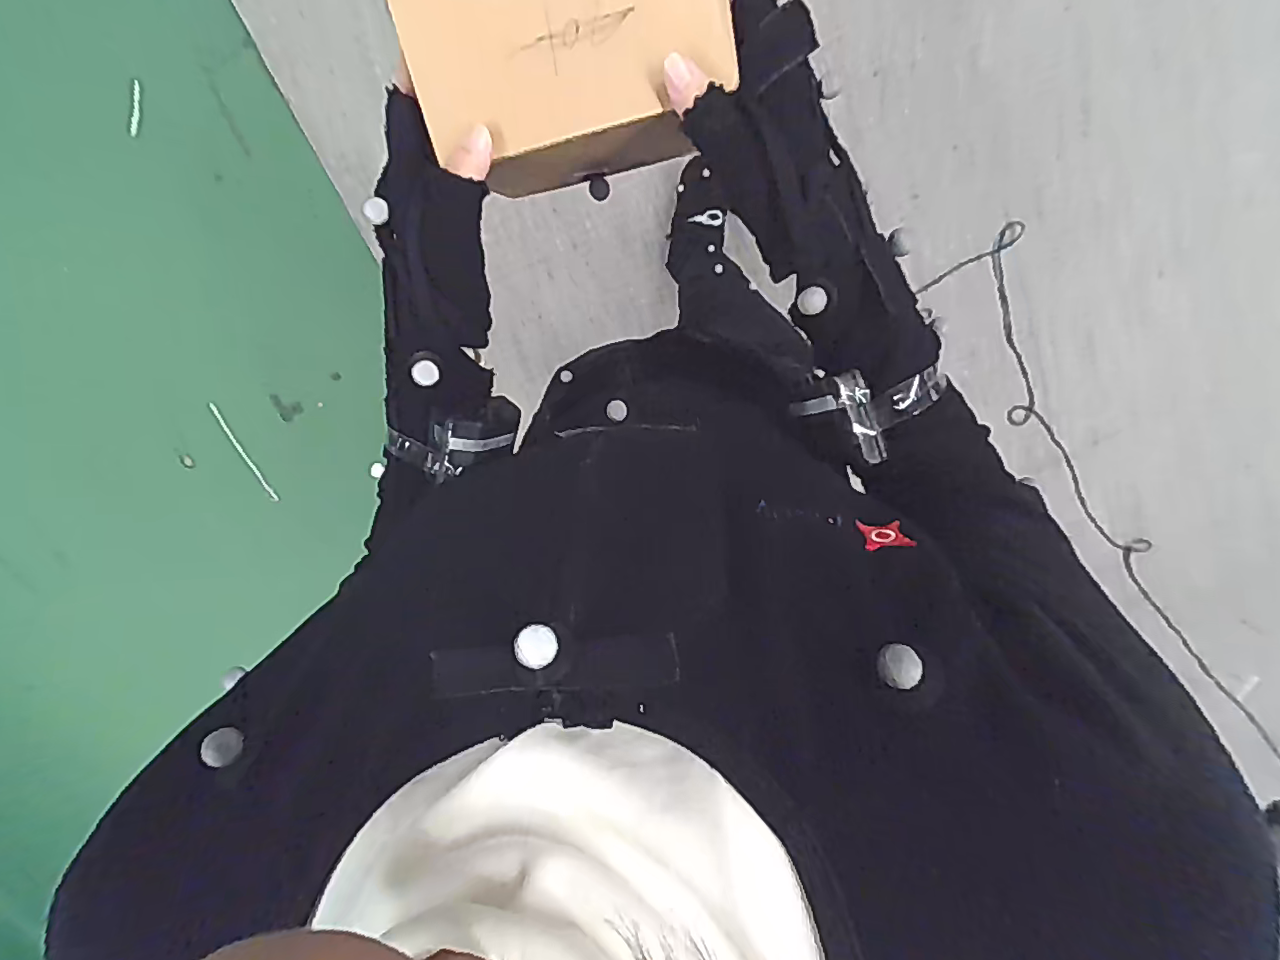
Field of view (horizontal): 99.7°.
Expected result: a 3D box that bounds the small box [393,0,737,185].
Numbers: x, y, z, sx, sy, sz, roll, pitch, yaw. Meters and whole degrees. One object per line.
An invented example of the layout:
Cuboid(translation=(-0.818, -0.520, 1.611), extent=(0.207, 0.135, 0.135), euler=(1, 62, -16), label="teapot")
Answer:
Cuboid(translation=(-0.044, -0.301, 0.327), extent=(0.168, 0.176, 0.179), euler=(-11, 112, 8), label="small box")
